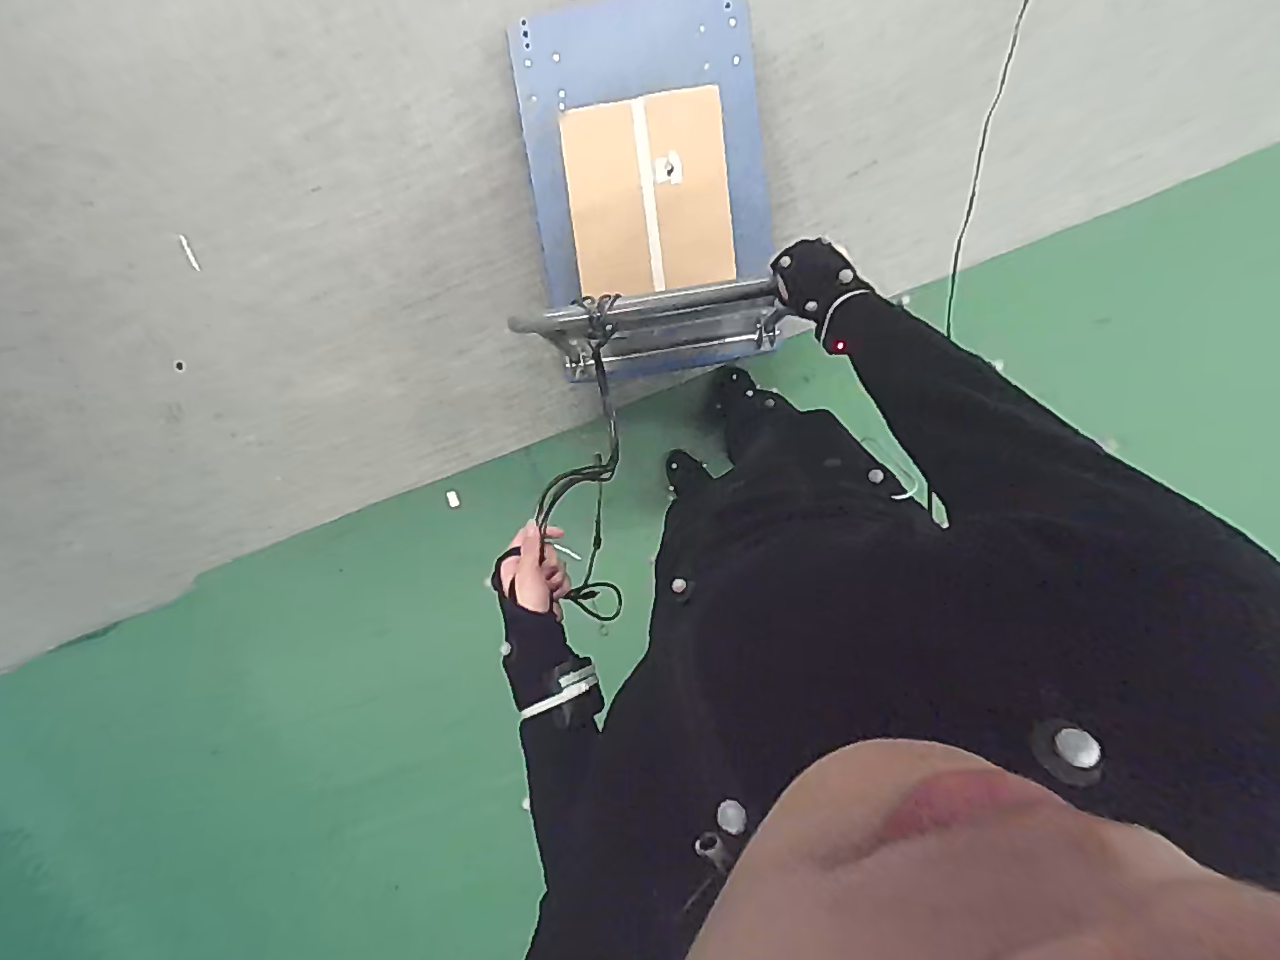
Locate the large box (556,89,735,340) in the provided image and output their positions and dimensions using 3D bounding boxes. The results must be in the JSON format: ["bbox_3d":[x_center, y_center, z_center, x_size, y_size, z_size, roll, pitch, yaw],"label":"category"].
[{"bbox_3d":[0.022,-0.556,1.217,0.320,0.320,0.408,-7,98,3],"label":"large box"}]
